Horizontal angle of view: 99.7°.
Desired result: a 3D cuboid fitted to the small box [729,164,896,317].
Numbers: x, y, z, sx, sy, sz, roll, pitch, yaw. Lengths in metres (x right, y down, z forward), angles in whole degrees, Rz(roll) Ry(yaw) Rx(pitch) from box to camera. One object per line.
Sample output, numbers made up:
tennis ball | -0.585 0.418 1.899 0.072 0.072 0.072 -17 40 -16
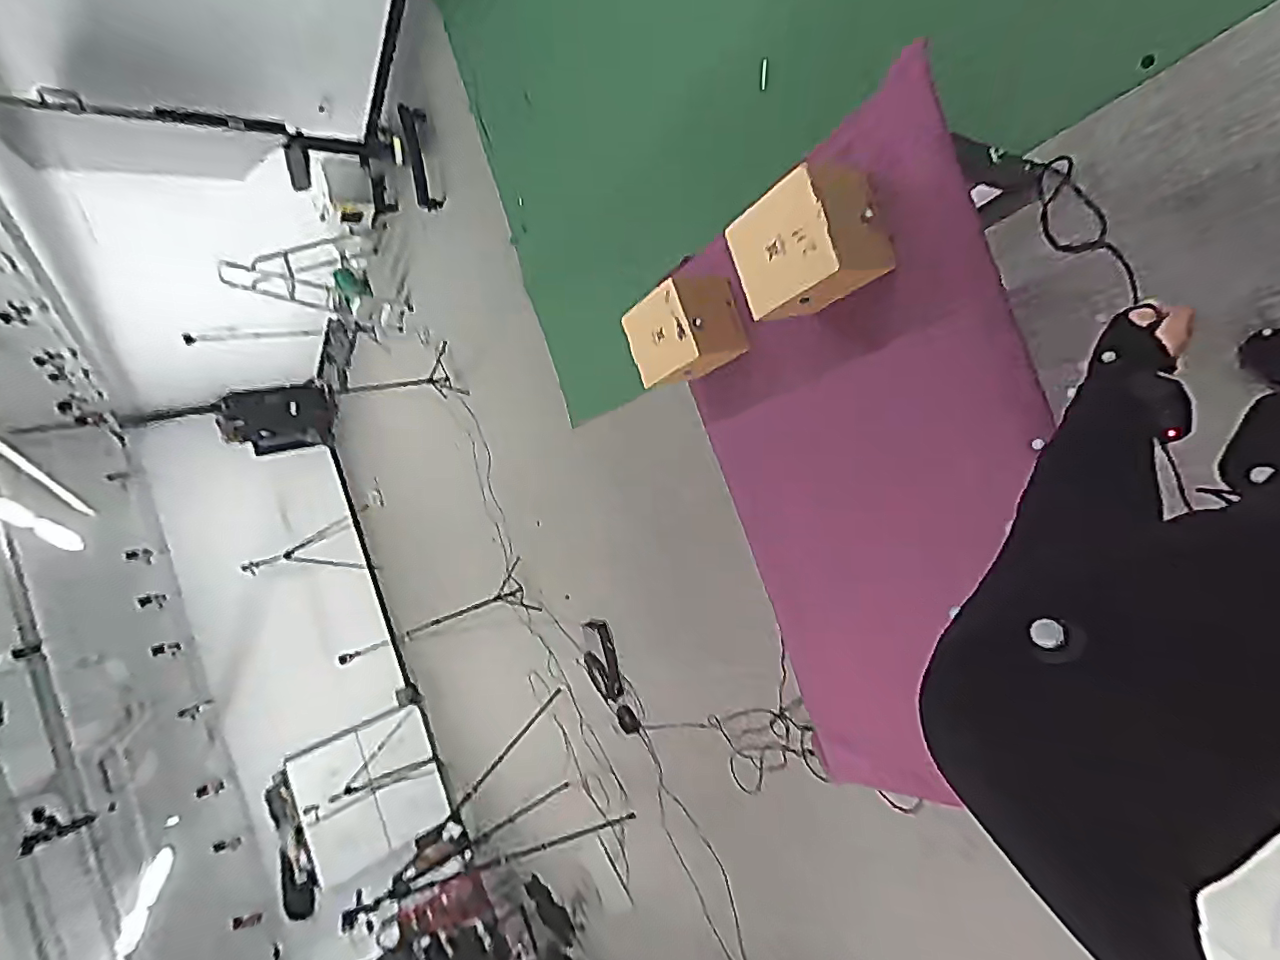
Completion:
small box | 0.284 -0.386 0.898 0.179 0.176 0.168 -19 89 54

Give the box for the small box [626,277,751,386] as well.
small box | 0.104 -0.315 1.154 0.179 0.176 0.168 -22 88 51
